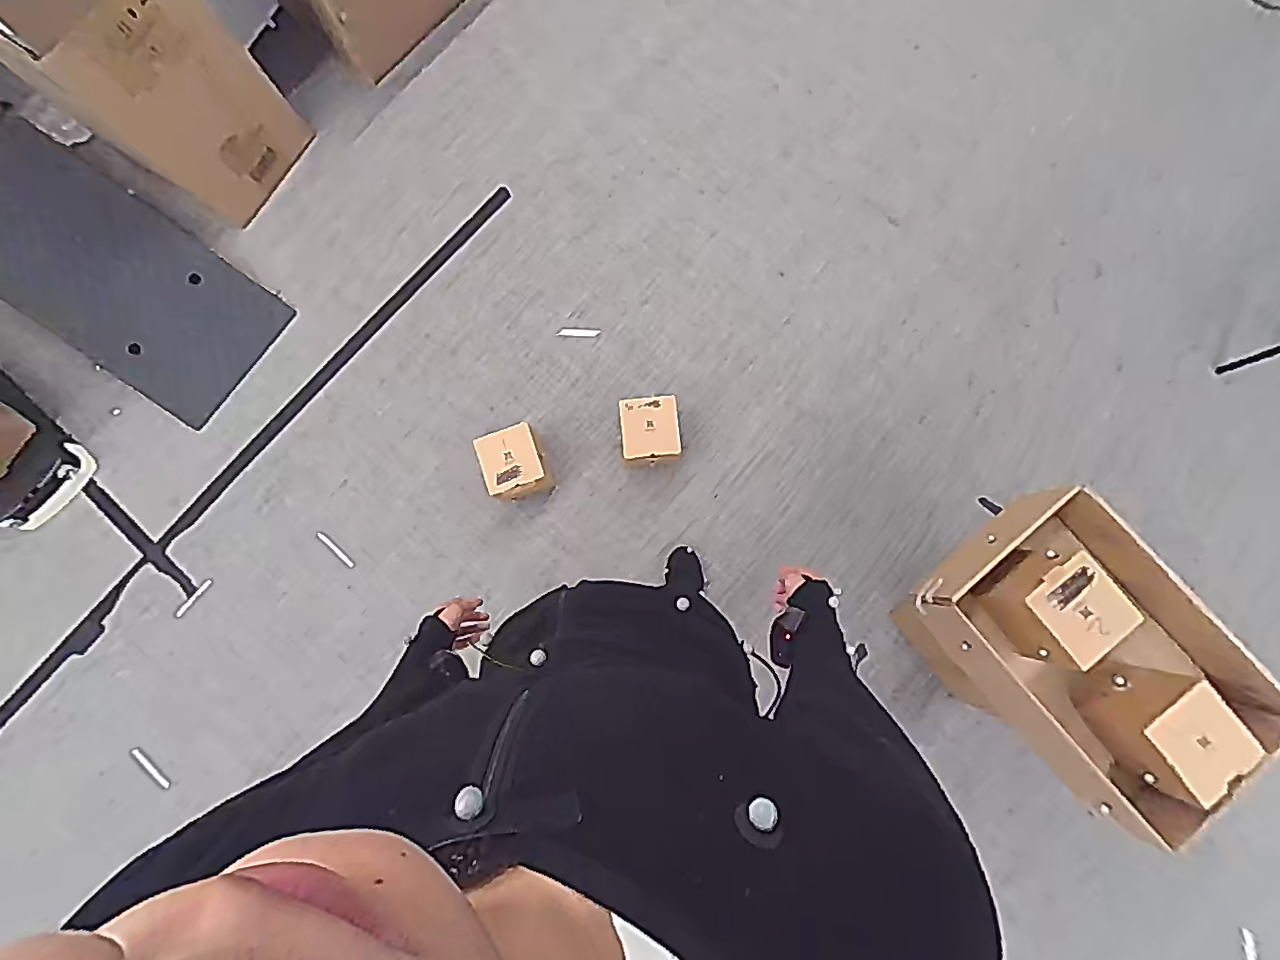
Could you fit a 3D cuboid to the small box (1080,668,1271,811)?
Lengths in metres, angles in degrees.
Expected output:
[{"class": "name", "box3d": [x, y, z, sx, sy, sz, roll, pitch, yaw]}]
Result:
[{"class": "small box", "box3d": [1.059, 0.506, 1.086, 0.168, 0.176, 0.179, -35, 82, -6]}]

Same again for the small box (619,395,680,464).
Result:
[{"class": "small box", "box3d": [0.029, -0.143, 1.609, 0.168, 0.176, 0.179, -5, 83, -1]}]

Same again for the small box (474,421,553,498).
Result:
[{"class": "small box", "box3d": [-0.367, -0.053, 1.600, 0.168, 0.176, 0.179, -19, 81, -2]}]
